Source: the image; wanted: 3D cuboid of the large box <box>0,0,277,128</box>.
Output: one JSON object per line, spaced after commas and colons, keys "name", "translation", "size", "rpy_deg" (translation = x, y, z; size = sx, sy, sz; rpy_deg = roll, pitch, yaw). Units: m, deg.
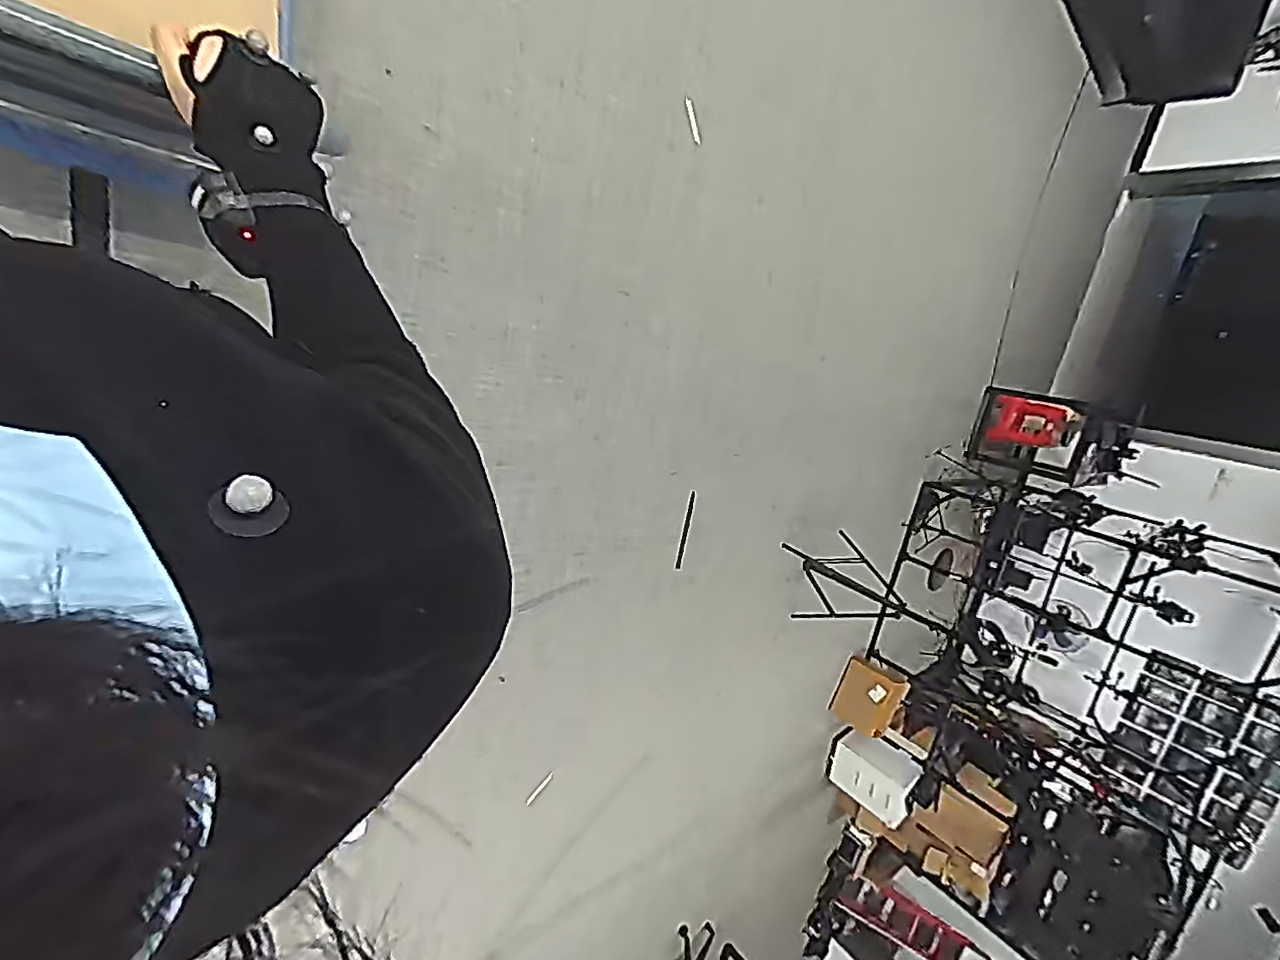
{"name": "large box", "translation": [-0.740, -0.712, 0.694], "size": [0.408, 0.320, 0.320], "rpy_deg": [-6, 111, -43]}
